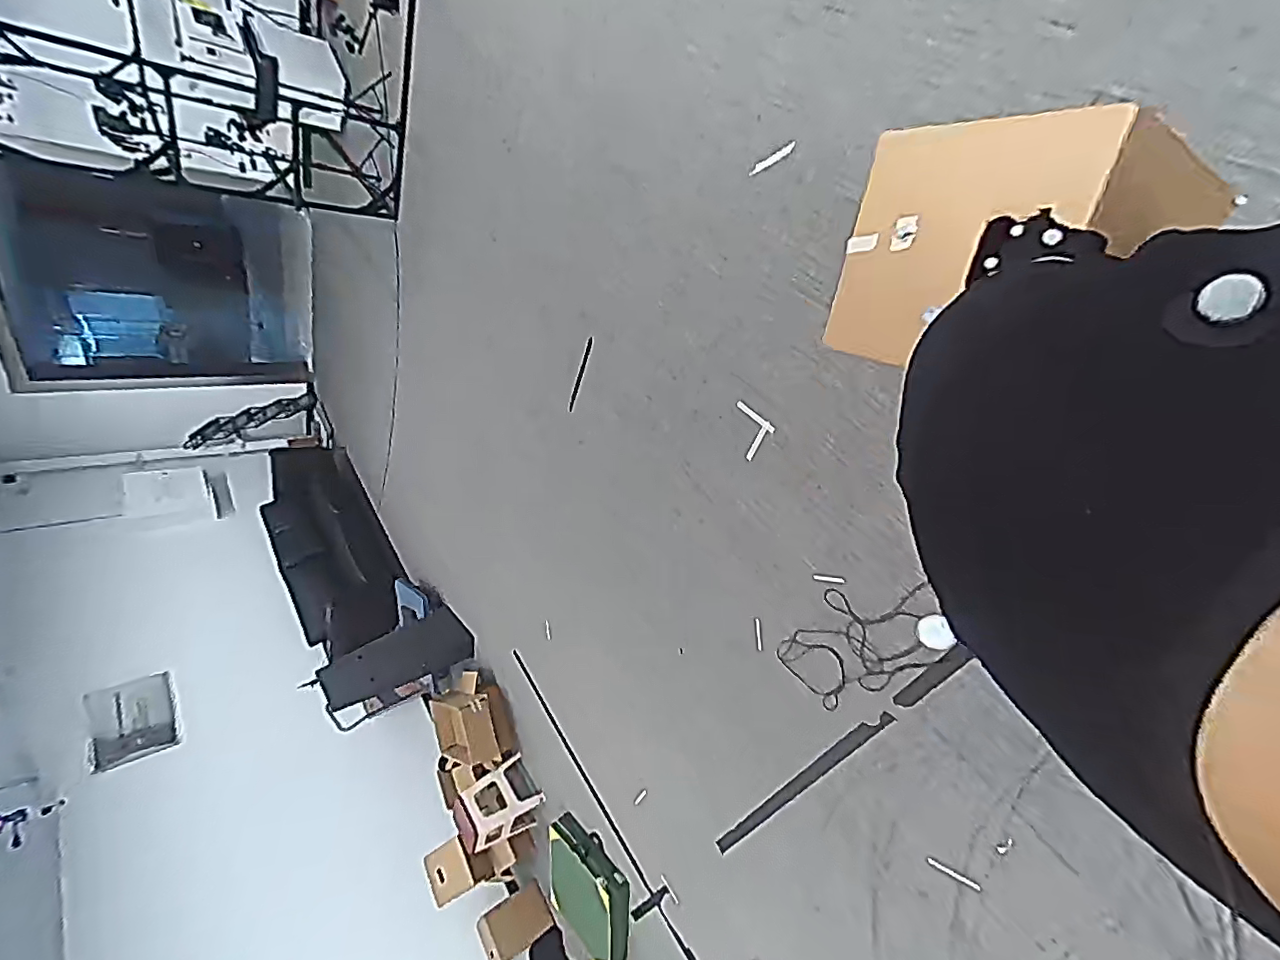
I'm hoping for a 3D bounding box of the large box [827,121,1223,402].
[{"bbox_3d":[0.572,-0.316,0.842,0.320,0.408,0.320,40,126,48],"label":"large box"}]
